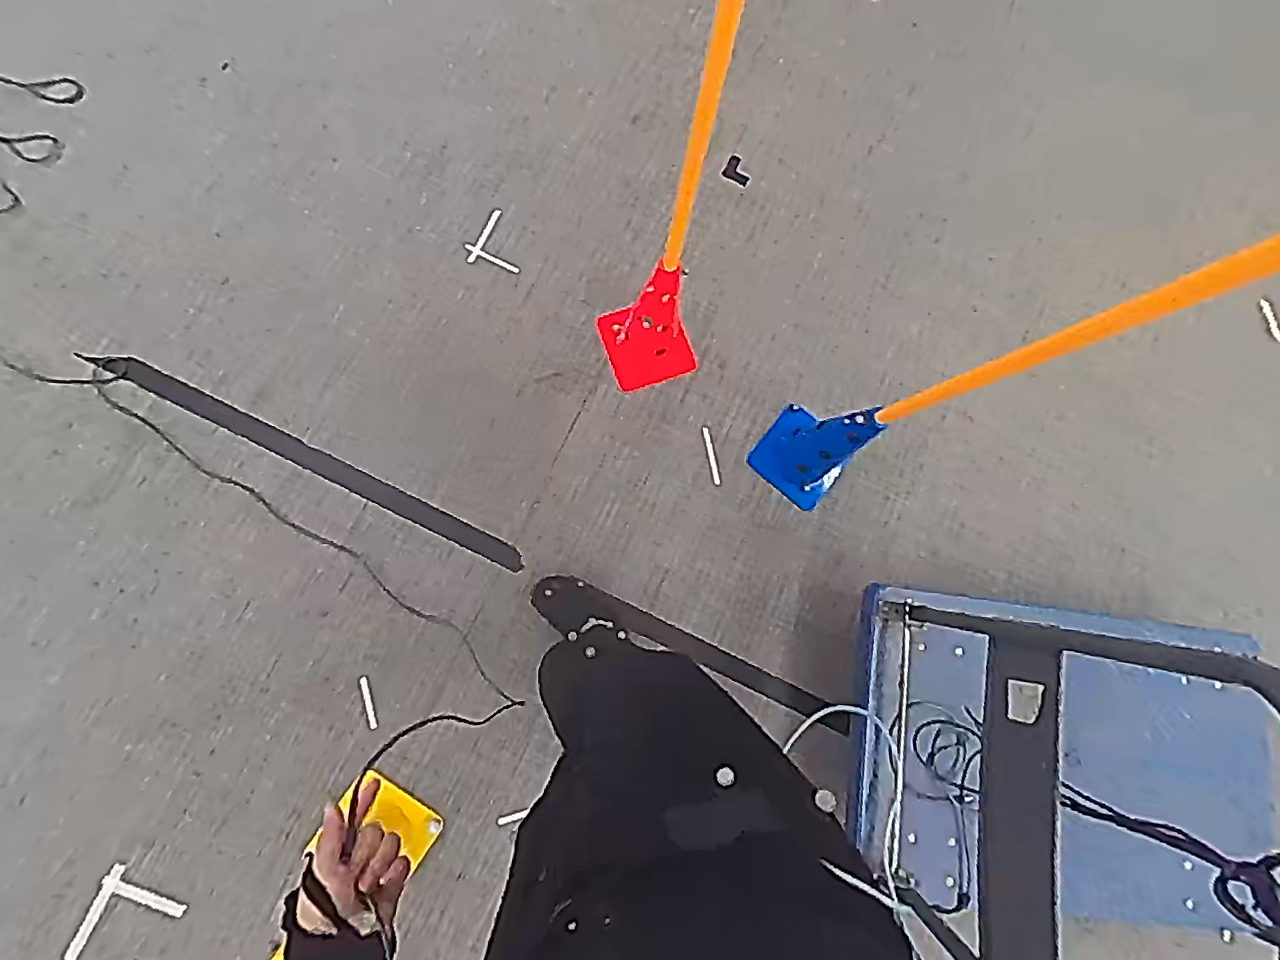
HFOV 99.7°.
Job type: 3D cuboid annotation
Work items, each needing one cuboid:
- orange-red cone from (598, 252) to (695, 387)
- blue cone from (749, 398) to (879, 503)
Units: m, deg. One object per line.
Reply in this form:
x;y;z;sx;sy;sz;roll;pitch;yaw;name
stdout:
0.034;-0.353;1.111;0.198;0.360;0.199;-18;85;-8;orange-red cone
0.390;-0.090;1.122;0.192;0.380;0.193;41;79;2;blue cone
